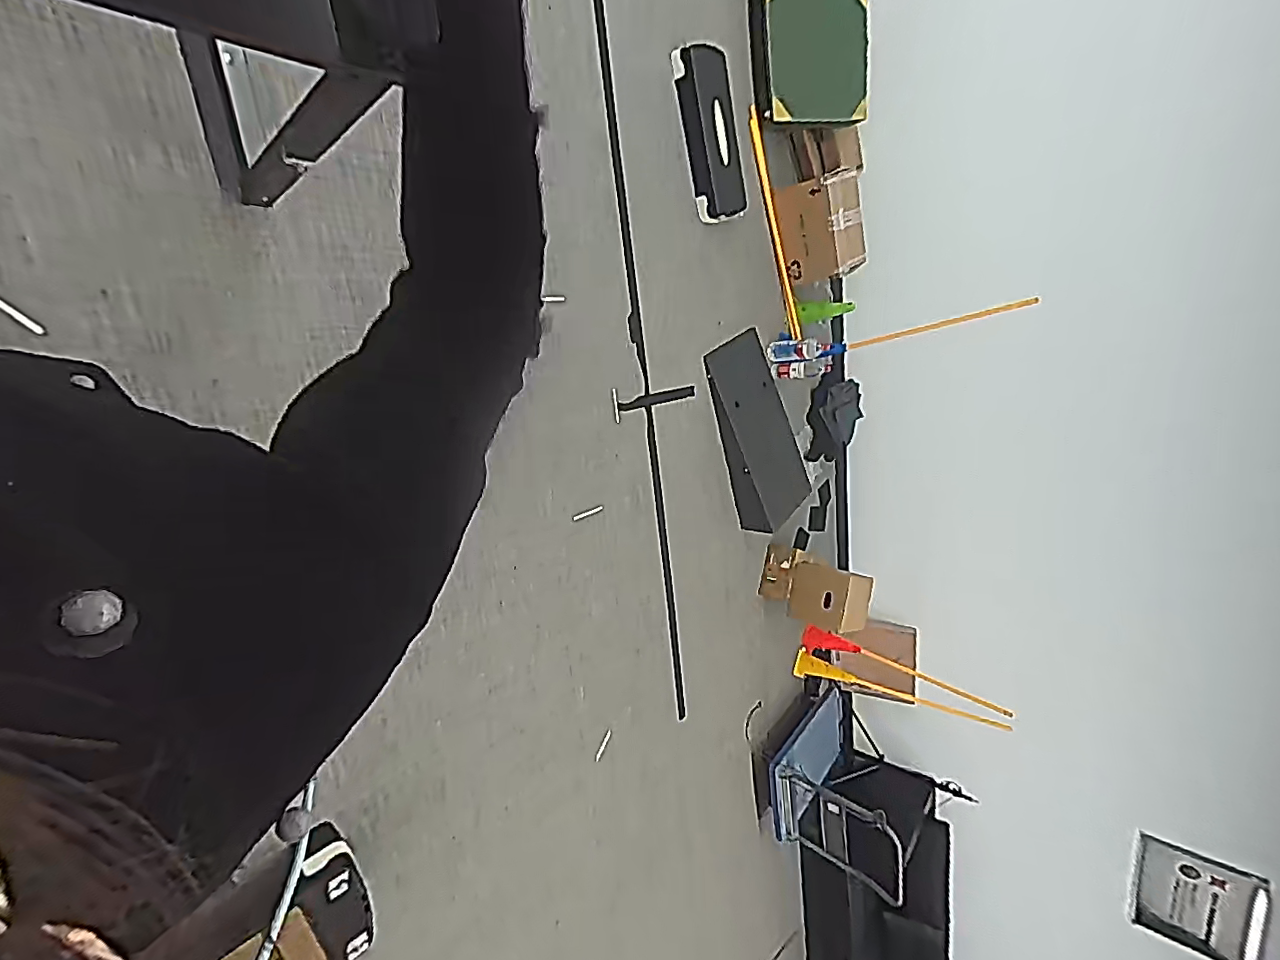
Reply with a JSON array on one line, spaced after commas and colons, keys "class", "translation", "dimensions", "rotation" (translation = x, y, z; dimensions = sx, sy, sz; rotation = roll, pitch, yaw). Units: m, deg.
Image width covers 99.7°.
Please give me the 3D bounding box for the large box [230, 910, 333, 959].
[{"class": "large box", "translation": [-0.790, 1.197, 1.053], "dimensions": [0.408, 0.320, 0.320], "rotation": [-20, 109, -46]}]
